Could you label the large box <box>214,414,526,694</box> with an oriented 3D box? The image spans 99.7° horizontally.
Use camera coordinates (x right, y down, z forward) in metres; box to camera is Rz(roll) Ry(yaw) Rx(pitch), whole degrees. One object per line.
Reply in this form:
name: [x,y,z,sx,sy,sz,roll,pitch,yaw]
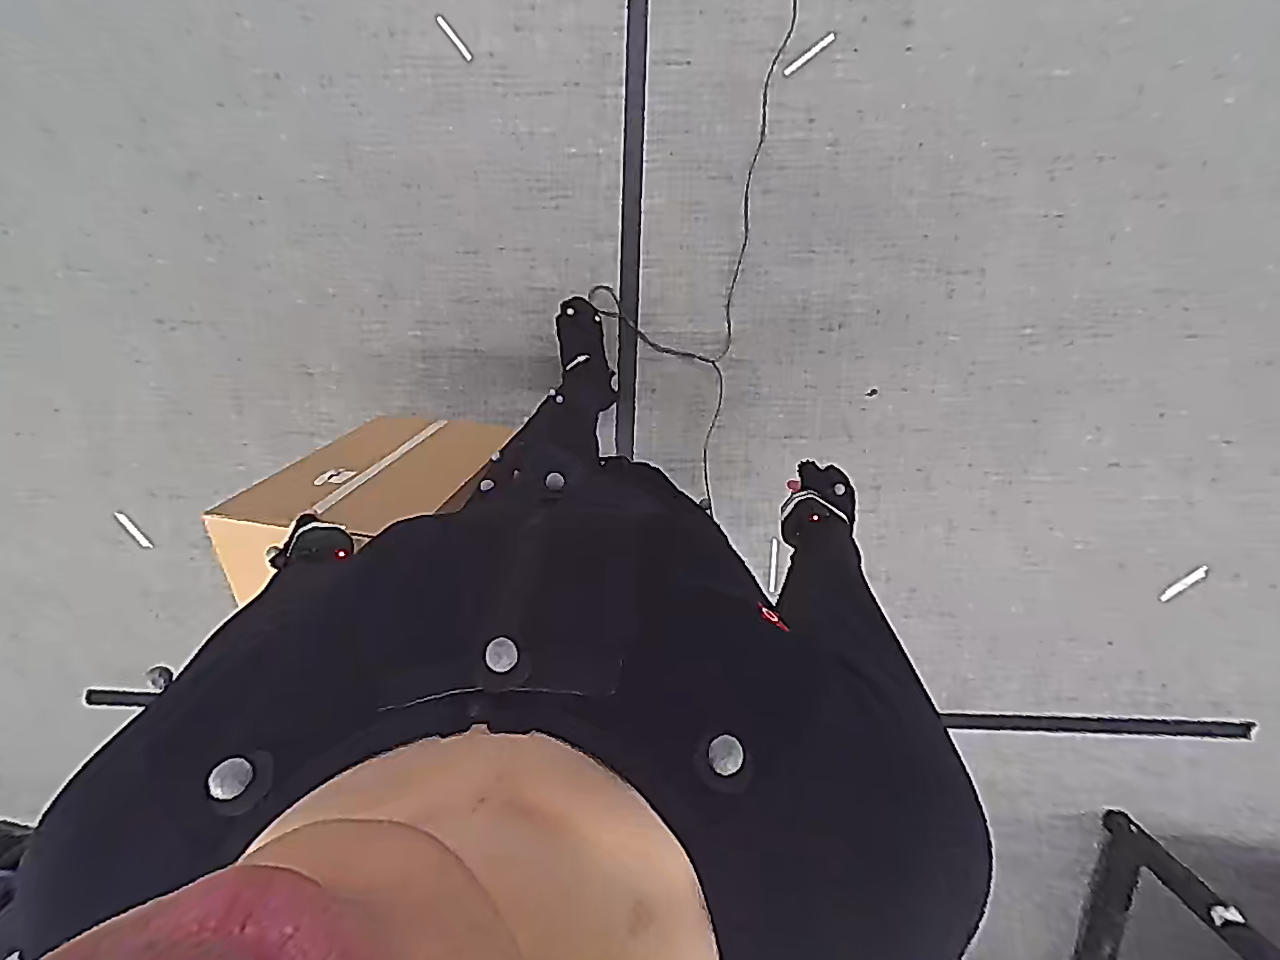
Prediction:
large box: [-0.431,0.105,0.989,0.320,0.408,0.320,6,118,11]
